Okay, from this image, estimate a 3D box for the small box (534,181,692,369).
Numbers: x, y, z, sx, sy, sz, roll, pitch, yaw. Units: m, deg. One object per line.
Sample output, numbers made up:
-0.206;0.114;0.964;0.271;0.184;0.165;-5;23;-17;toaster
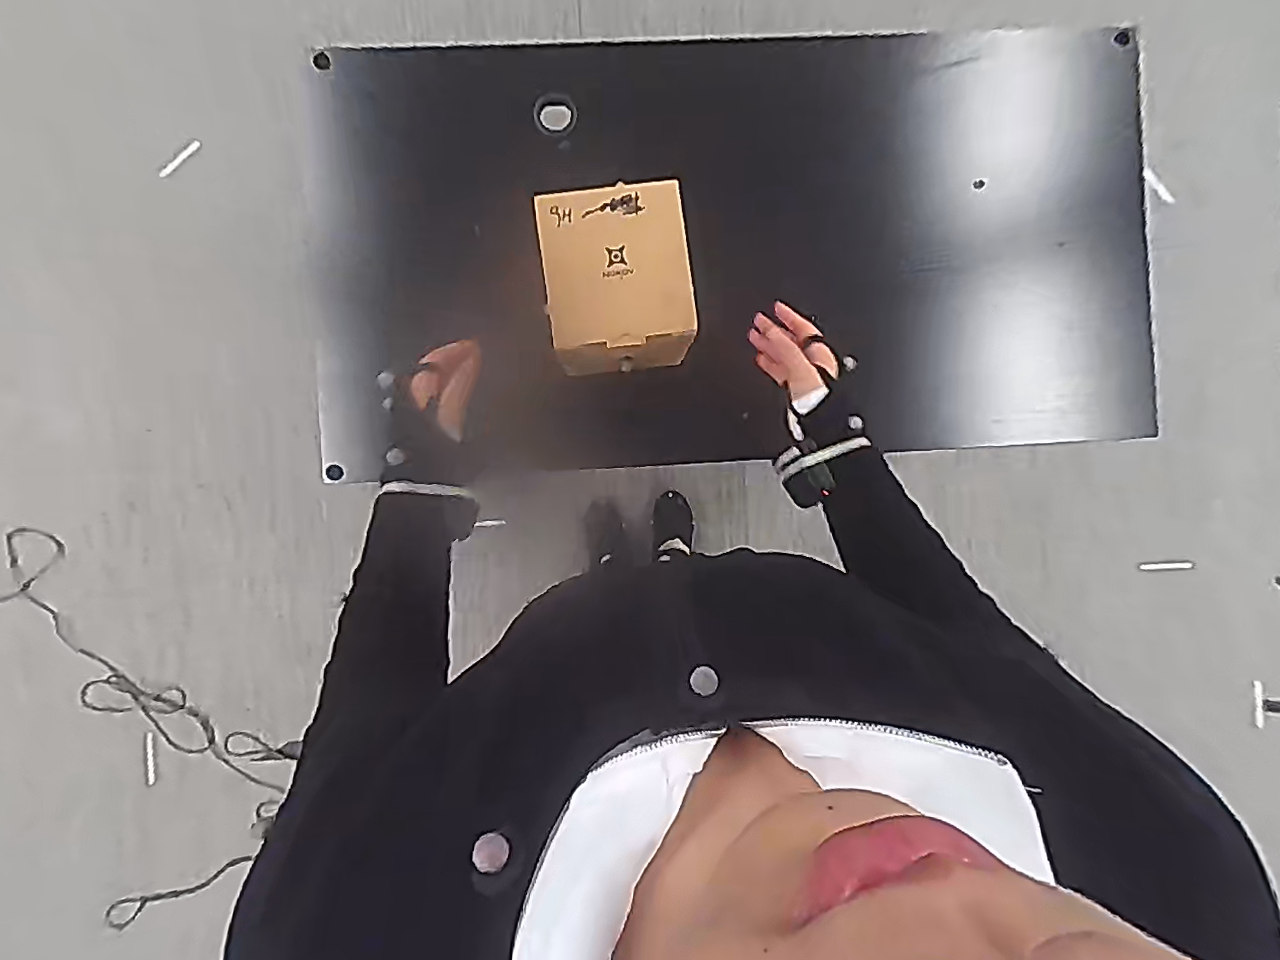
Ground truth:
-0.031;-0.245;0.692;0.168;0.176;0.179;-8;91;-2;small box
